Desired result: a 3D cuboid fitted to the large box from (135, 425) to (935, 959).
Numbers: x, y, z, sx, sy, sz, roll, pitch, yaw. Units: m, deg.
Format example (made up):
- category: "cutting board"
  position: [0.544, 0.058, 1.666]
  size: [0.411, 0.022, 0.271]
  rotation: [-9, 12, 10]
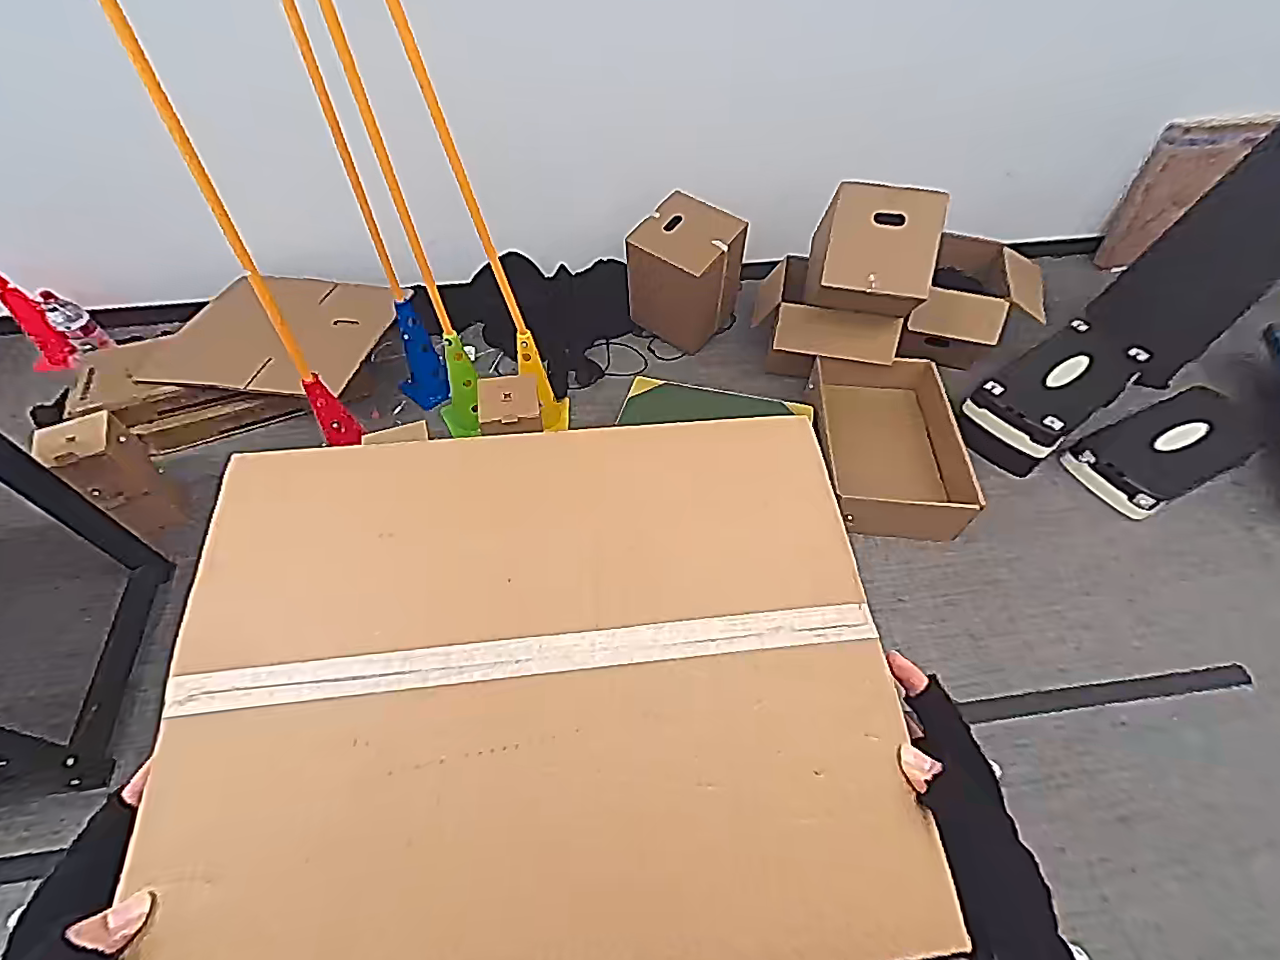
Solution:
- category: "large box"
  position: [-0.065, 0.178, 0.461]
  size: [0.408, 0.320, 0.320]
  rotation: [-4, 64, -5]
